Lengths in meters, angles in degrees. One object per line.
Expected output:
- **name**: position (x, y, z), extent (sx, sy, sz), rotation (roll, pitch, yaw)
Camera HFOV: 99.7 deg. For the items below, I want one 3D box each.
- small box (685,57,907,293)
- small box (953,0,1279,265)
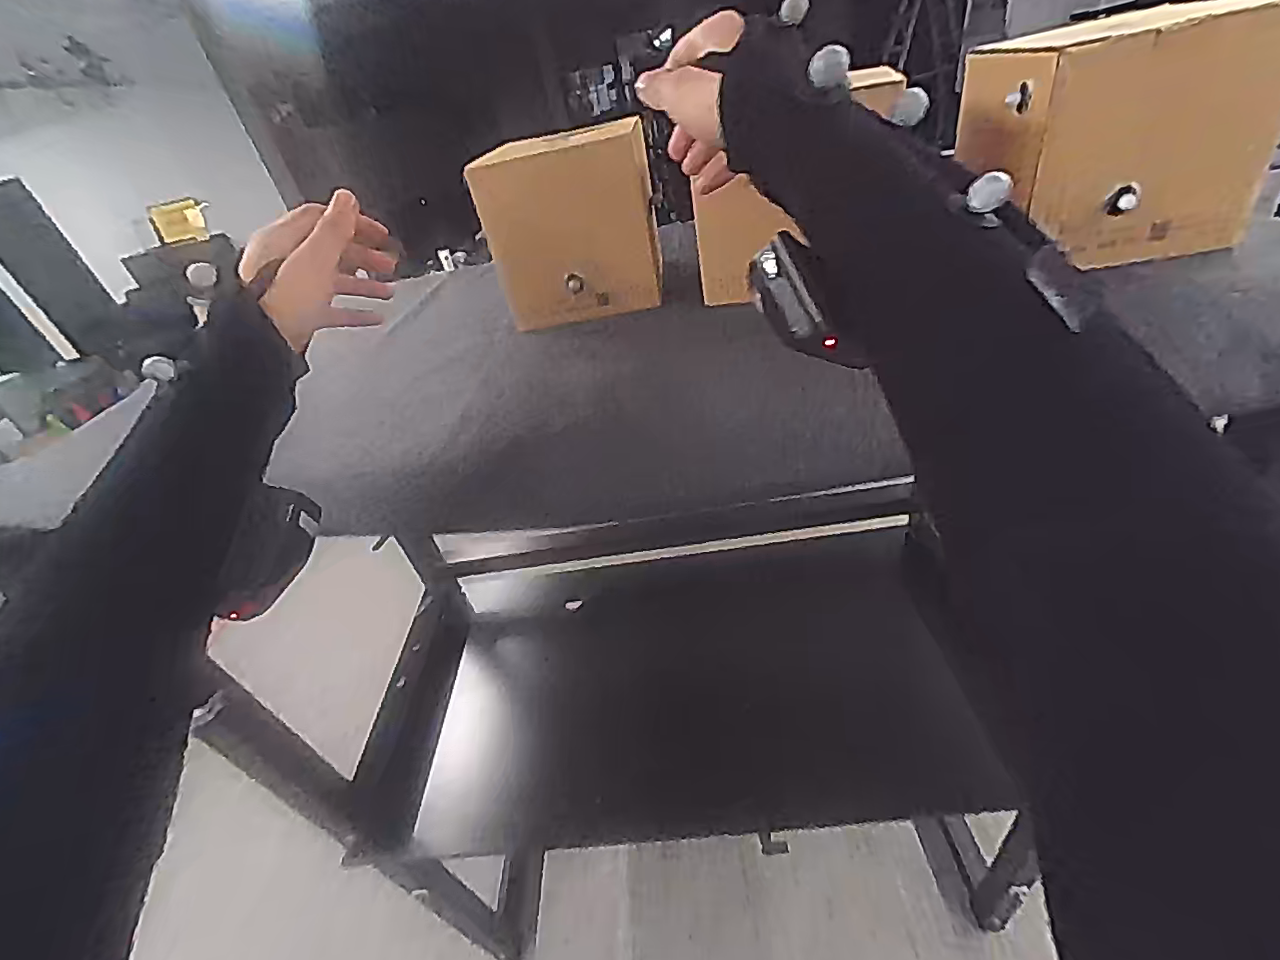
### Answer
- **small box**: position (0.155, -0.296, 0.537), extent (0.179, 0.176, 0.168), rotation (2, 39, 18)
- **small box**: position (0.397, -0.302, 0.469), extent (0.168, 0.176, 0.179), rotation (-6, 37, 10)
